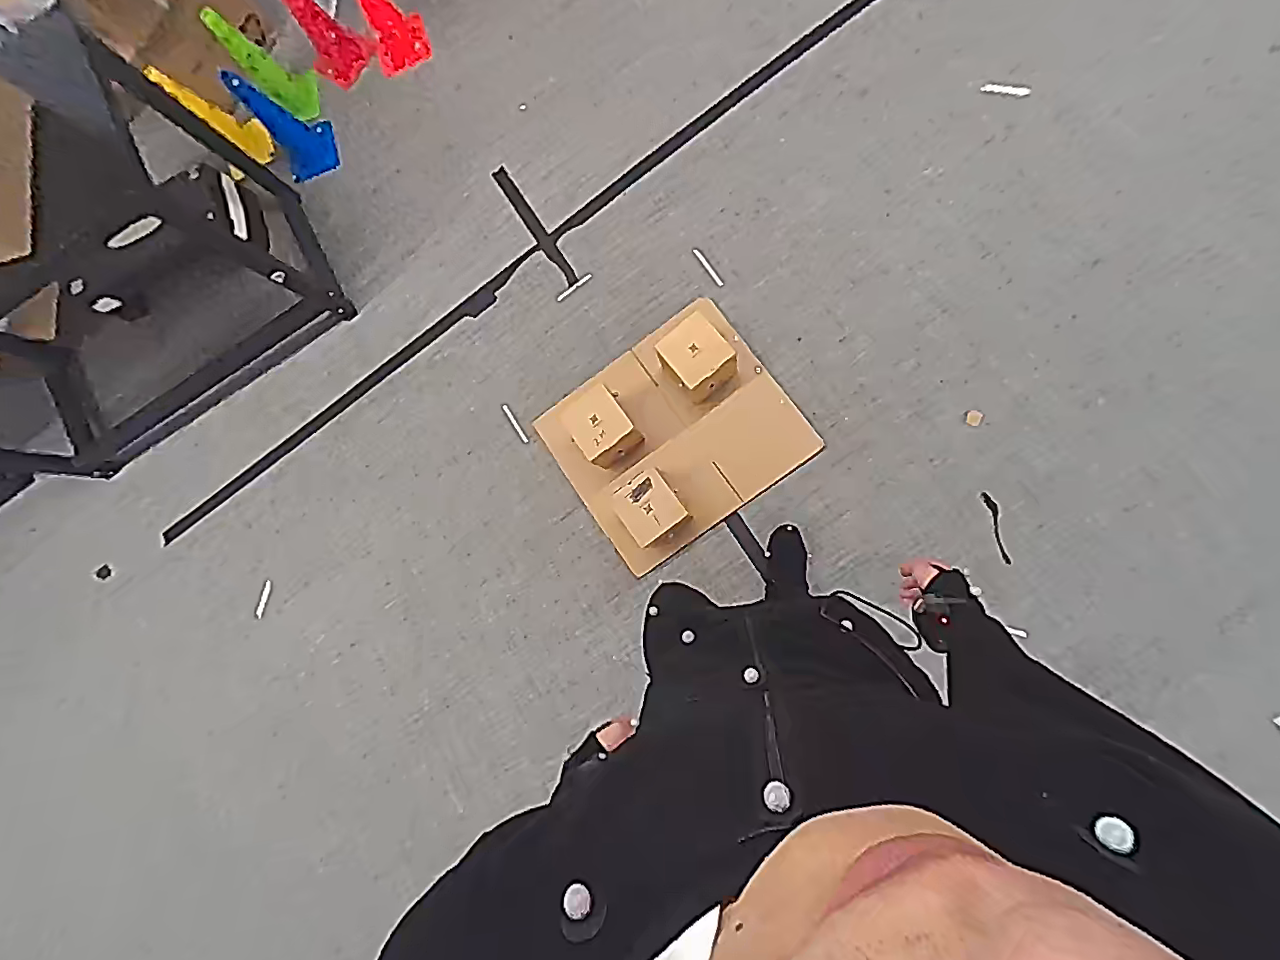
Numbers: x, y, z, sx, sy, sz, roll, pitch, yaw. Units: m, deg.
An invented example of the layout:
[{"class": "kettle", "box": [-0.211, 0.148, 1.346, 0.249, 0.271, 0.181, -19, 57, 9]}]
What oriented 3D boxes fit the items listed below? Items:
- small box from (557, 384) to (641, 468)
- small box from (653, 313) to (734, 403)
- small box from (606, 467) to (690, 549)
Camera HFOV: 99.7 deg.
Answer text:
[{"class": "small box", "box": [-0.118, -0.154, 1.628, 0.168, 0.176, 0.179, -37, 80, 5]}, {"class": "small box", "box": [0.161, -0.353, 1.607, 0.168, 0.176, 0.179, -40, 79, 4]}, {"class": "small box", "box": [0.029, 0.086, 1.579, 0.168, 0.176, 0.179, -37, 80, 5]}]
